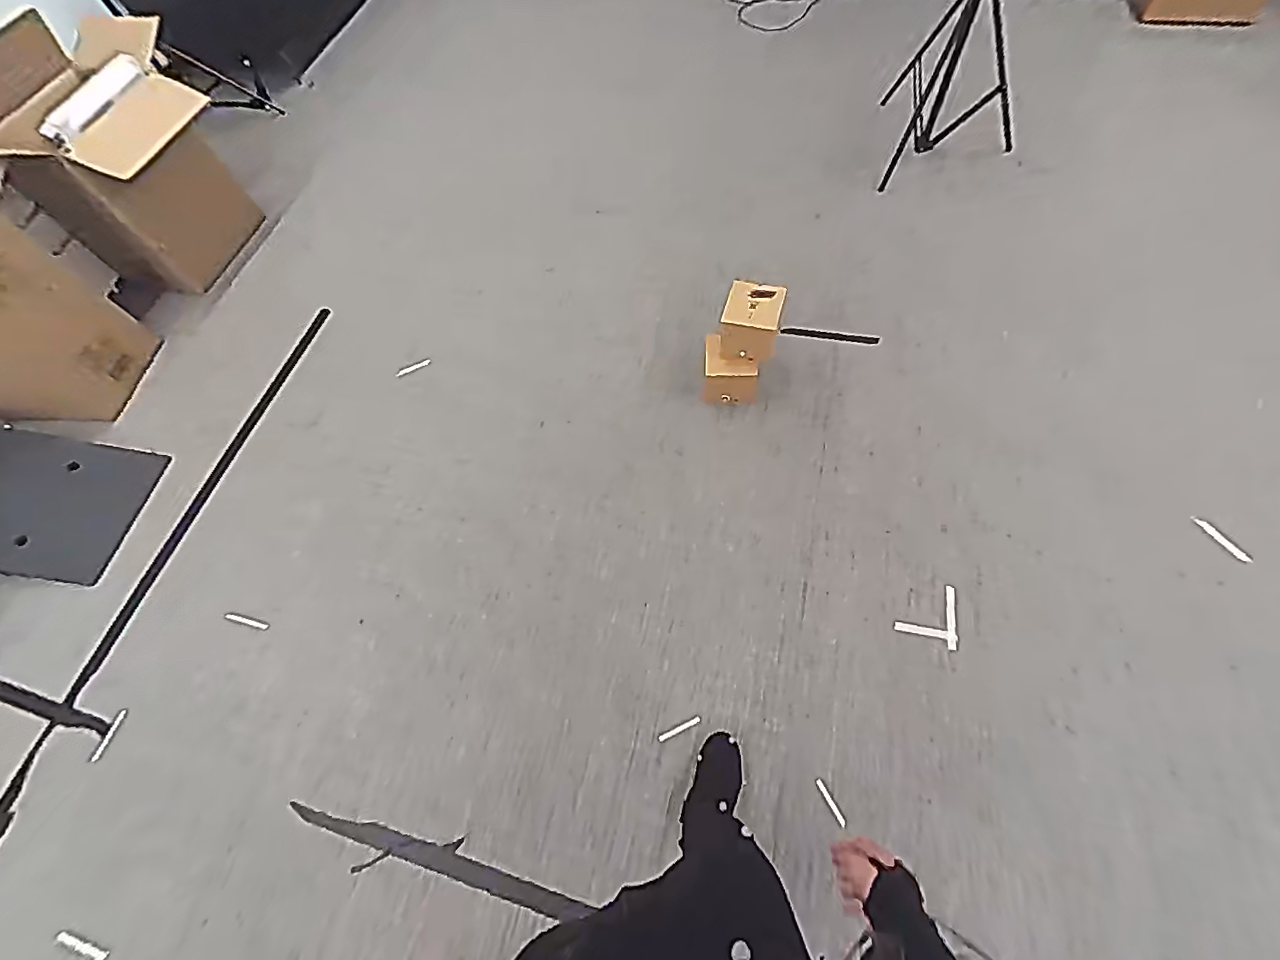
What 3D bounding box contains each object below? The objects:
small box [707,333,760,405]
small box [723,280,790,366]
[{"bbox_3d":[0.309,-0.370,1.808,0.168,0.176,0.179,1,63,8],"label":"small box"},{"bbox_3d":[0.357,-0.486,1.677,0.168,0.176,0.179,14,66,15],"label":"small box"}]
